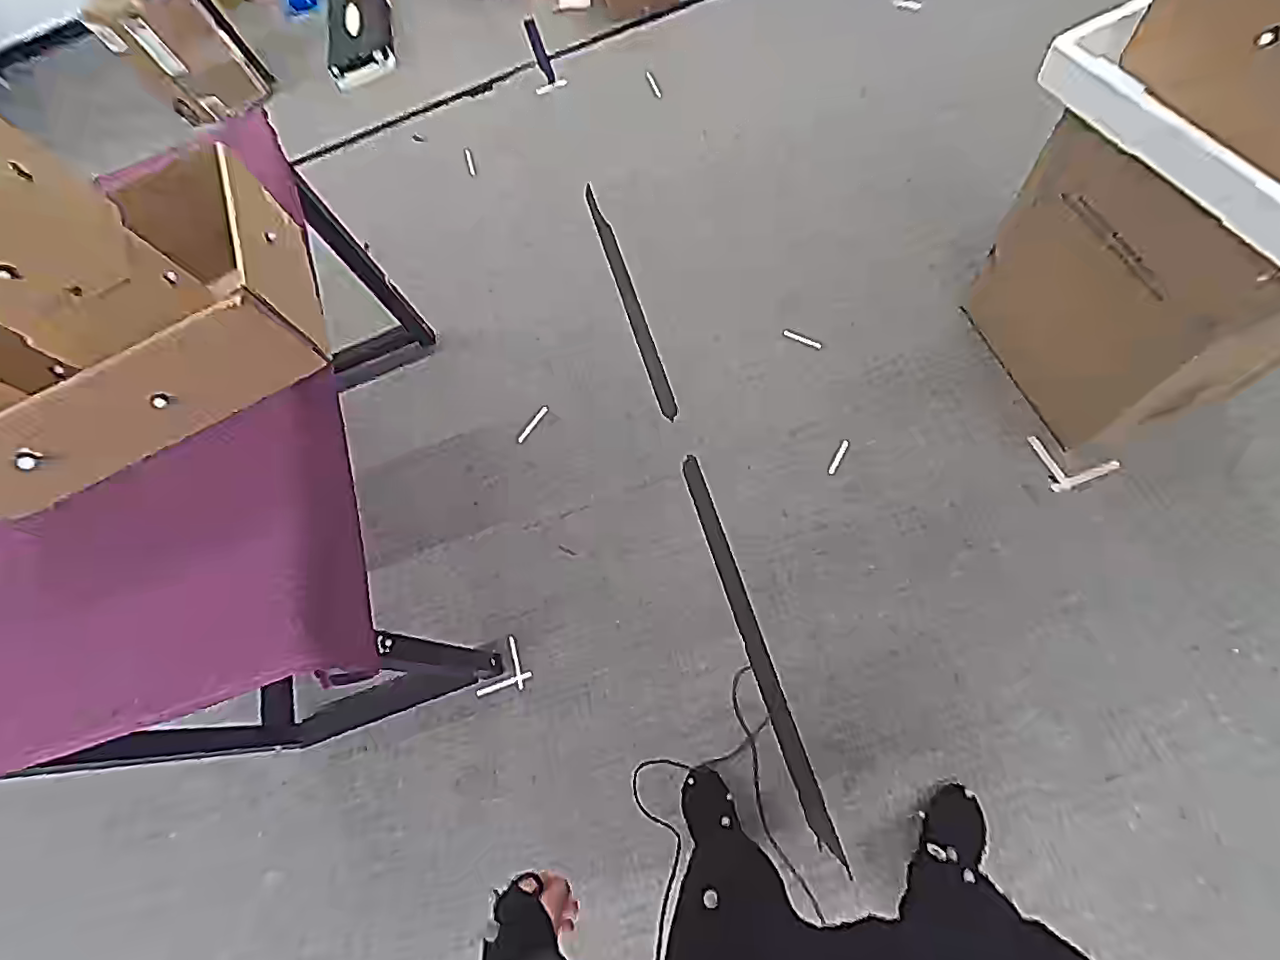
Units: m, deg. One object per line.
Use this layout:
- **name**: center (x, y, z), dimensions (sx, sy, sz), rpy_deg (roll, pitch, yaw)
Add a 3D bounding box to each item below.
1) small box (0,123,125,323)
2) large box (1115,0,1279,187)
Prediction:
- **small box**: center (-0.836, -0.336, 0.713), dimensions (0.168, 0.176, 0.179), rpy_deg (-32, 65, -1)
- **large box**: center (1.027, -0.689, 0.752), dimensions (0.320, 0.320, 0.408), rpy_deg (-23, 64, 0)
